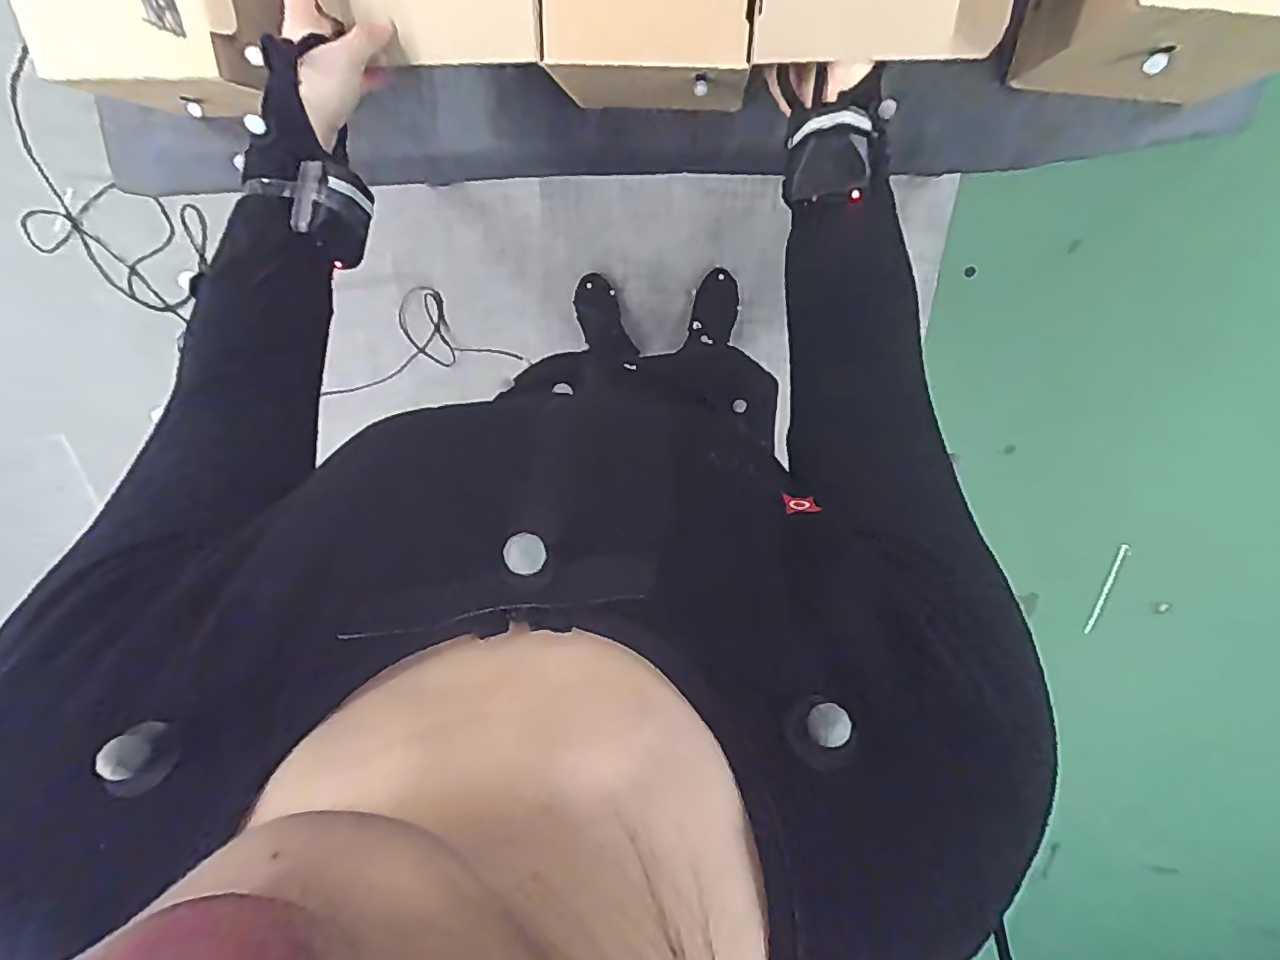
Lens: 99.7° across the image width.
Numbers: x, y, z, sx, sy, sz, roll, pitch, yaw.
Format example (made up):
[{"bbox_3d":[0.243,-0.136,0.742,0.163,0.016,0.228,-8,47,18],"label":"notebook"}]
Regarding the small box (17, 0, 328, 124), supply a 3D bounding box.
[{"bbox_3d":[-0.427,-0.448,0.509,0.179,0.176,0.168,4,115,5],"label":"small box"}]
